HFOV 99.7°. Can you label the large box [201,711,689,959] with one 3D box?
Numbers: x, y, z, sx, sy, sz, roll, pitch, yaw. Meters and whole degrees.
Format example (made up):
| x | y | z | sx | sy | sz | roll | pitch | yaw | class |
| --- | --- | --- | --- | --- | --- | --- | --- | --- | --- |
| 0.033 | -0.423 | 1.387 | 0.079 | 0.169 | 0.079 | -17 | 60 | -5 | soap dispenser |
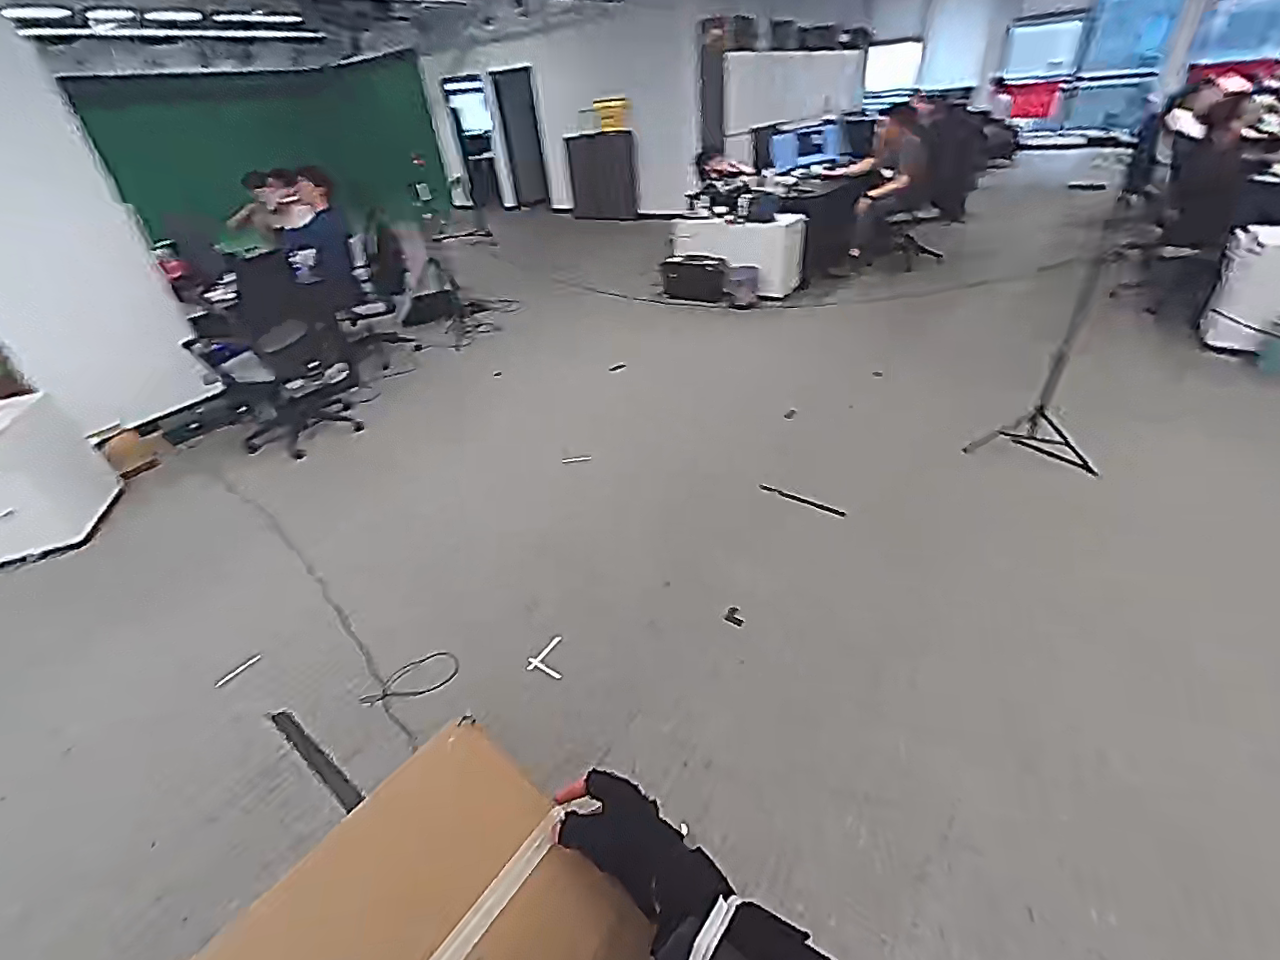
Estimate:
| x | y | z | sx | sy | sz | roll | pitch | yaw | class |
| --- | --- | --- | --- | --- | --- | --- | --- | --- | --- |
| -0.198 | 0.531 | 0.513 | 0.320 | 0.320 | 0.408 | 30 | 49 | 27 | large box |
